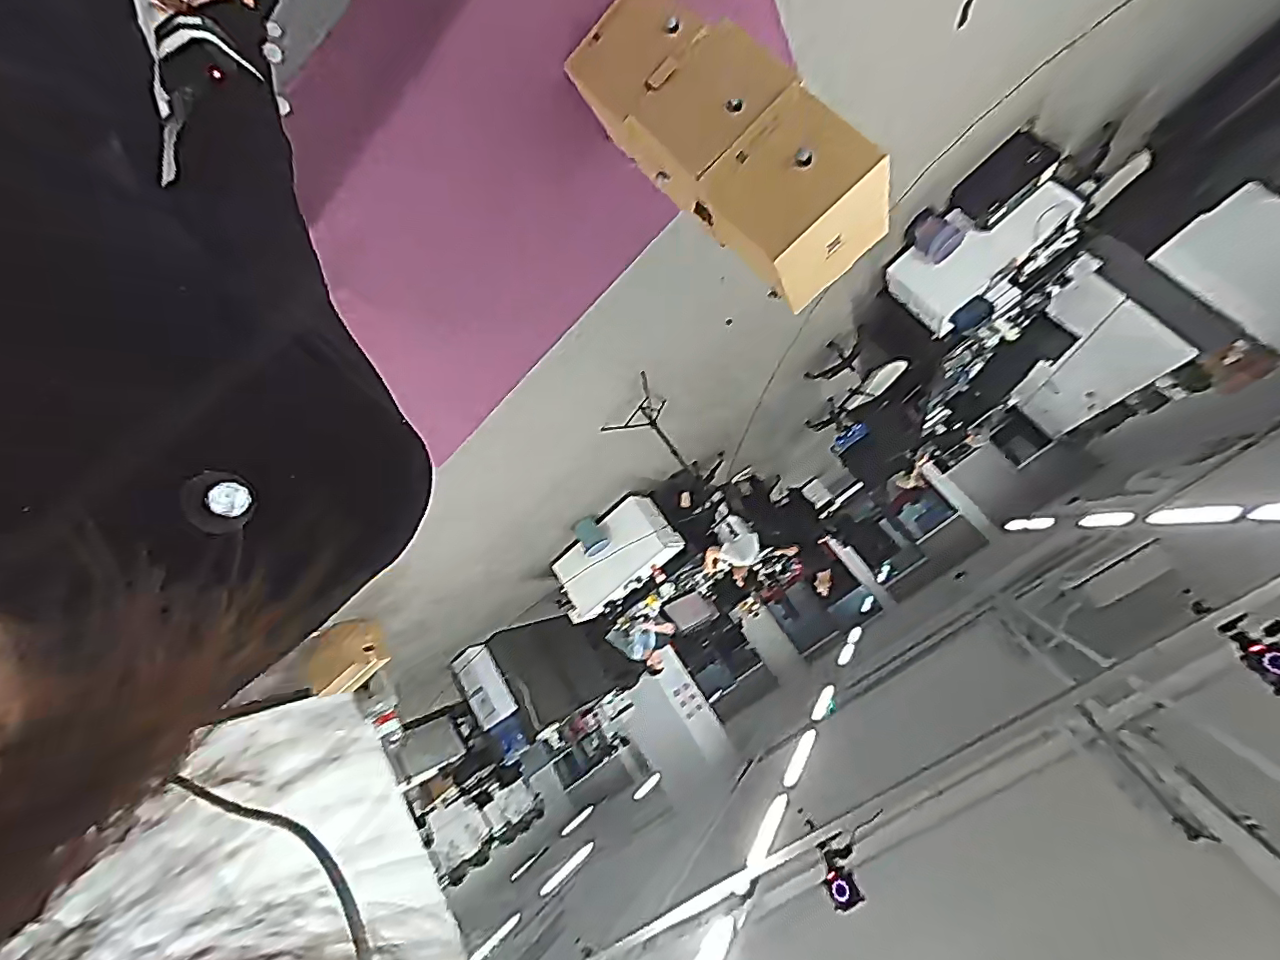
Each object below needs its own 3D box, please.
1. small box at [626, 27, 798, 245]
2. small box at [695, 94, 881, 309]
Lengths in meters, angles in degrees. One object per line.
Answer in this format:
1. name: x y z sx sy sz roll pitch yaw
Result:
1. small box: 0.111 -0.498 0.791 0.179 0.176 0.168 -39 160 9
2. small box: 0.201 -0.374 0.734 0.168 0.176 0.179 -42 161 15
